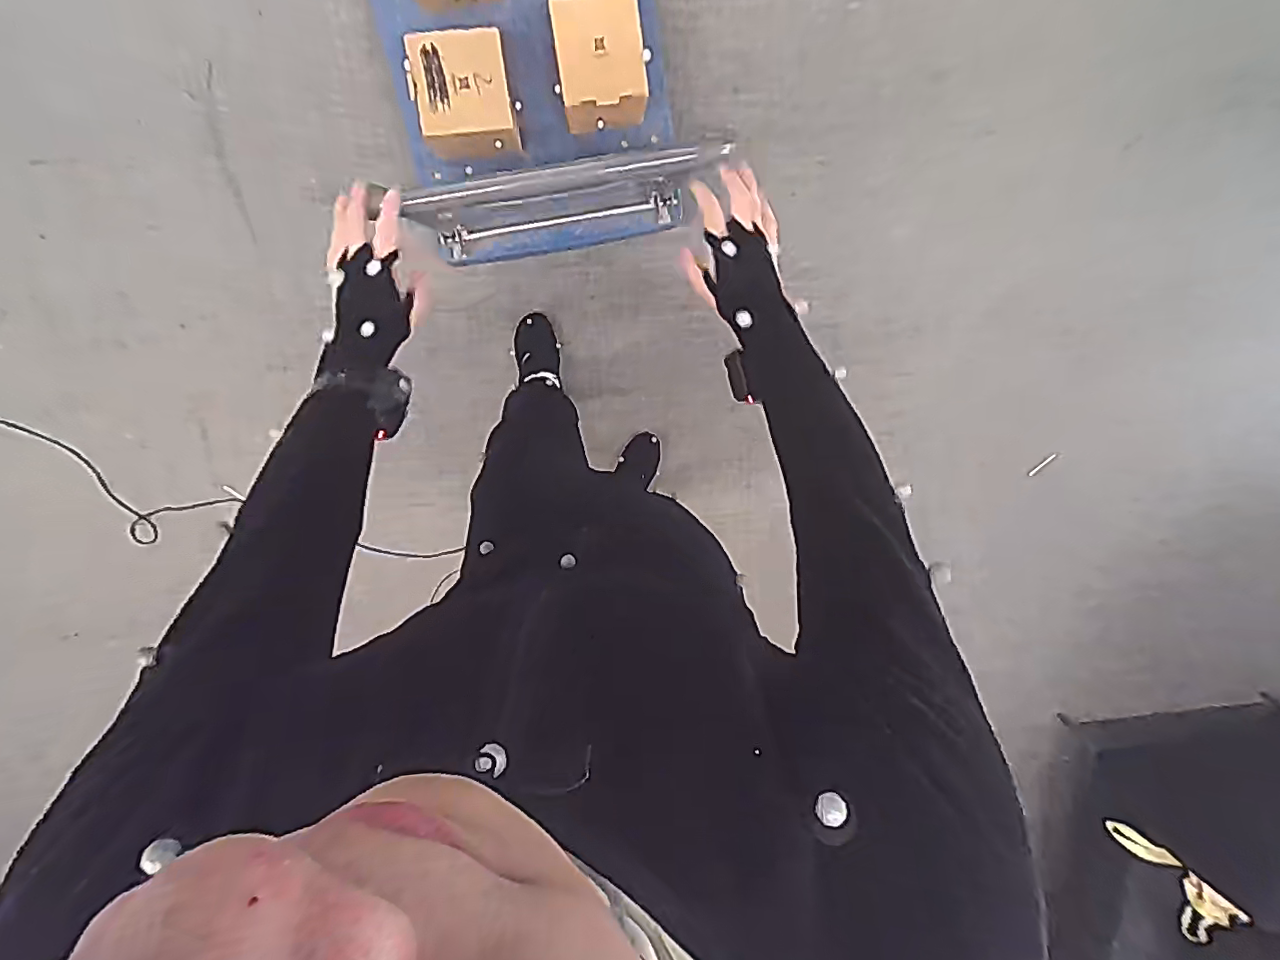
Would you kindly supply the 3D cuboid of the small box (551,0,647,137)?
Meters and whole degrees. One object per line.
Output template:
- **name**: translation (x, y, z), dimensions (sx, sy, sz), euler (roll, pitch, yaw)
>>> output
- **small box**: translation (-0.086, -0.842, 1.117), dimensions (0.168, 0.176, 0.179), euler (-10, 107, -2)

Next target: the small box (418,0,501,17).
- **small box**: translation (-0.376, -1.033, 1.035), dimensions (0.168, 0.176, 0.179), euler (-14, 107, -1)
